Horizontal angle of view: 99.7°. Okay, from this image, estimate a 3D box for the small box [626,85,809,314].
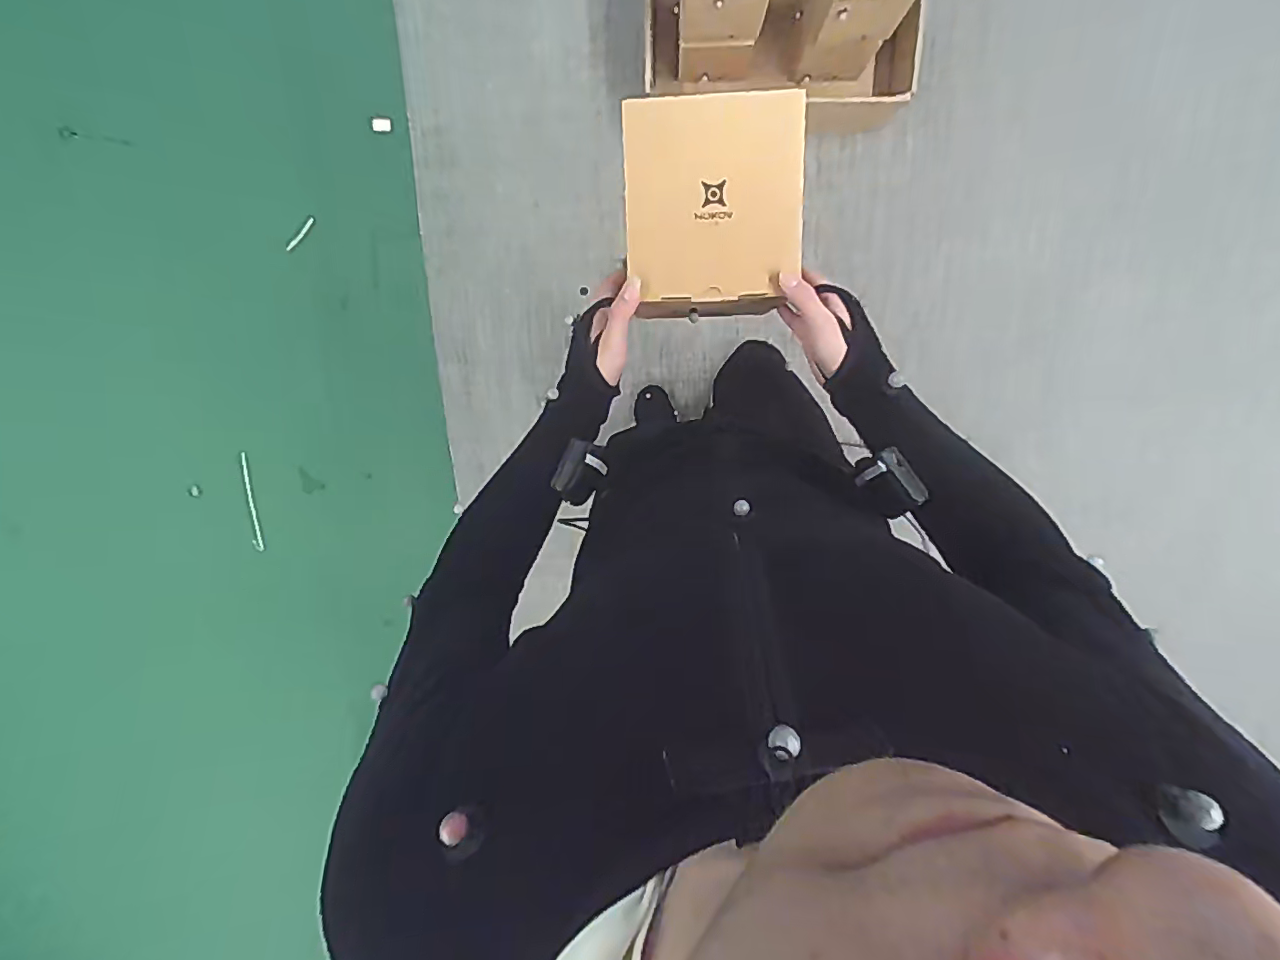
[{"bbox_3d":[0.070,-0.275,0.569,0.168,0.176,0.179,-1,102,2],"label":"small box"}]

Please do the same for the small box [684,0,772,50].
[{"bbox_3d":[0.174,-1.019,1.091,0.168,0.176,0.179,-1,100,3],"label":"small box"}]
